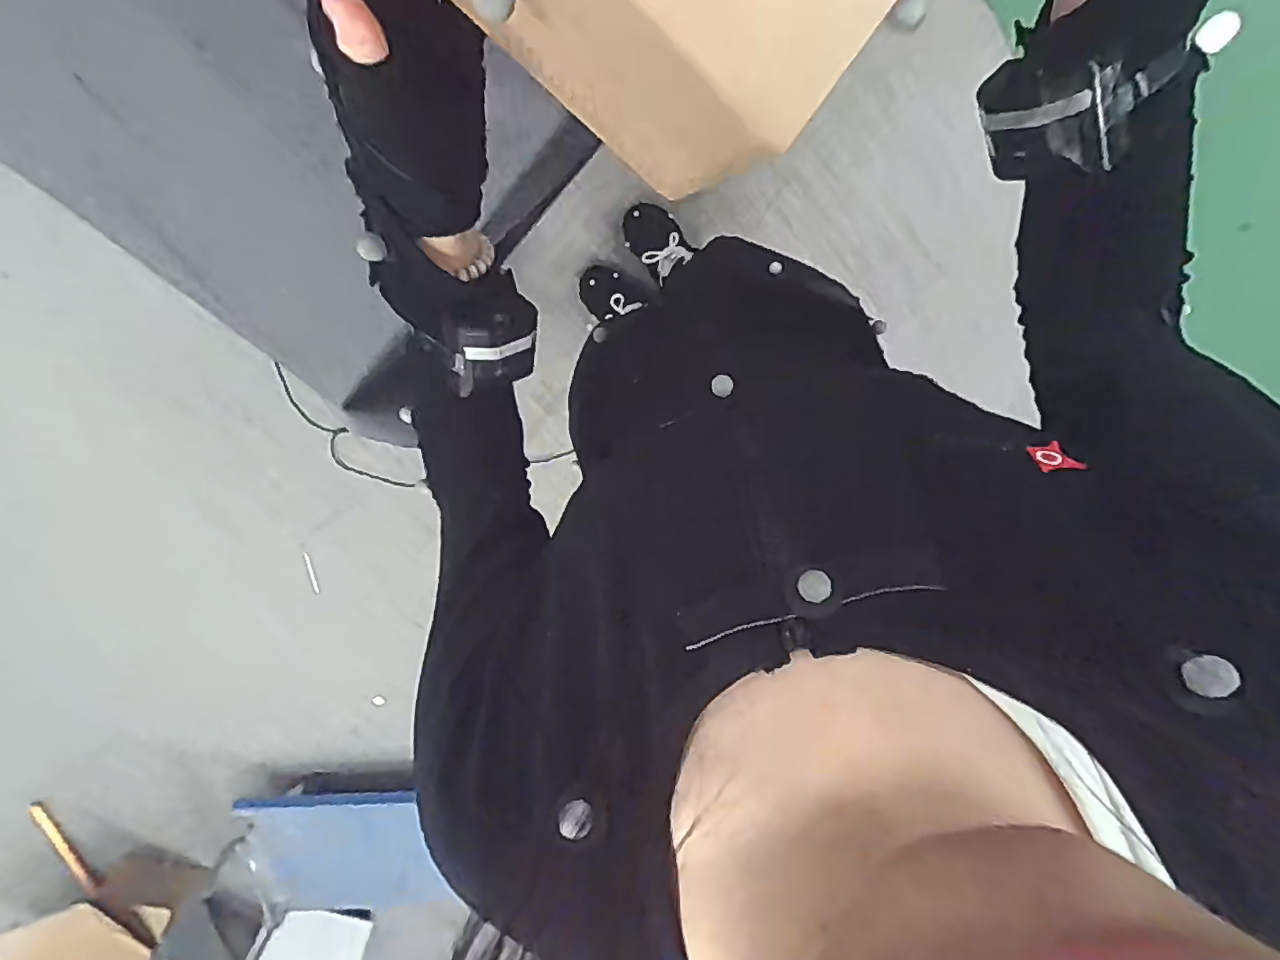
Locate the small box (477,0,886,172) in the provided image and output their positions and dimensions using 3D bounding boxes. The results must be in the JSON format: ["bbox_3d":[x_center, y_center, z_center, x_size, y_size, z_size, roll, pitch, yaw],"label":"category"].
[{"bbox_3d":[0.015,-0.240,0.191,0.179,0.176,0.168,35,105,-21],"label":"small box"}]
